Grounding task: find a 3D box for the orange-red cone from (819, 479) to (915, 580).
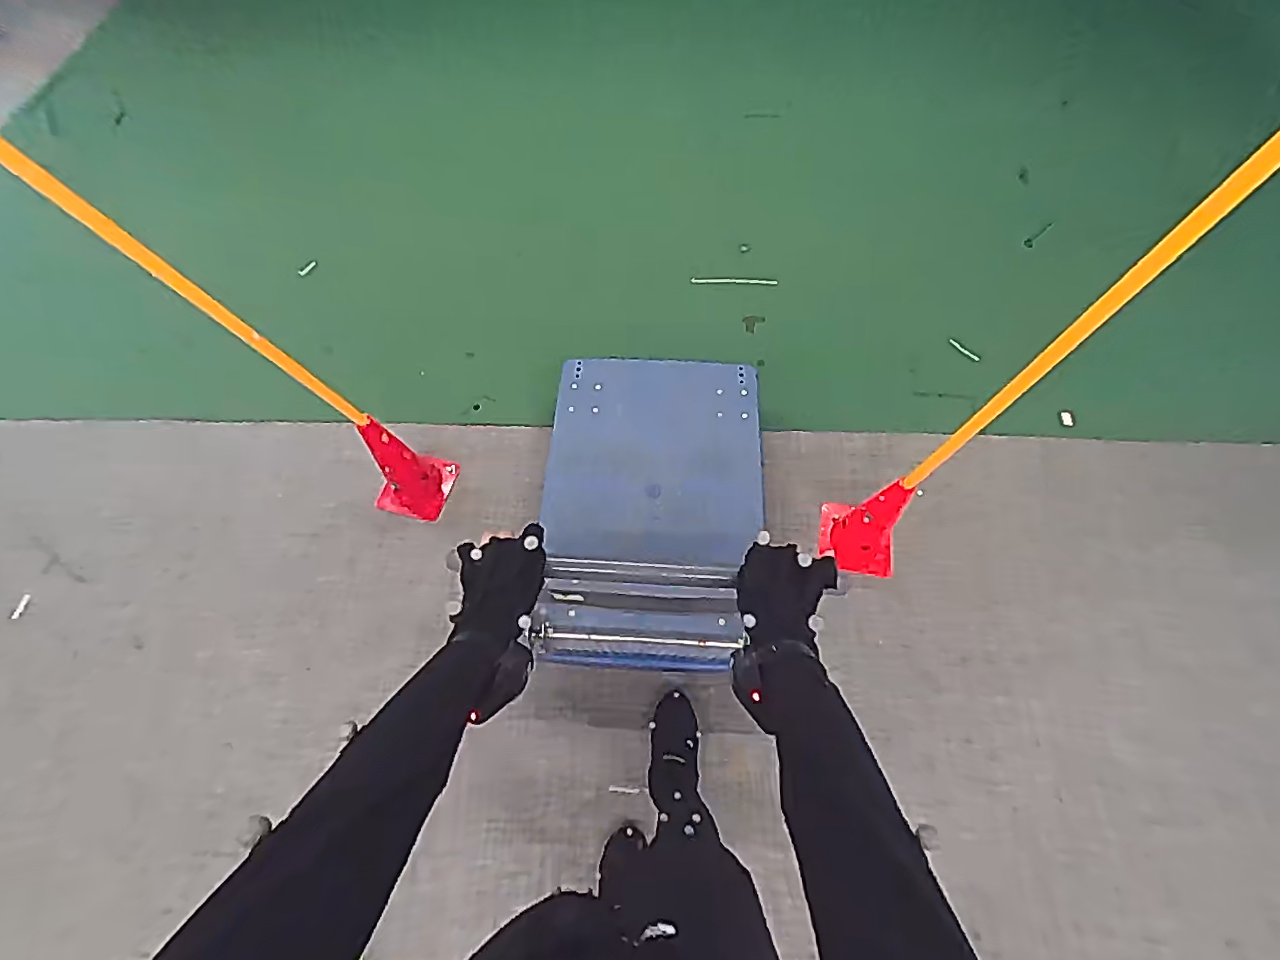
[{"bbox_3d":[0.608,0.096,1.376,0.198,0.360,0.199,11,64,7],"label":"orange-red cone"}]
